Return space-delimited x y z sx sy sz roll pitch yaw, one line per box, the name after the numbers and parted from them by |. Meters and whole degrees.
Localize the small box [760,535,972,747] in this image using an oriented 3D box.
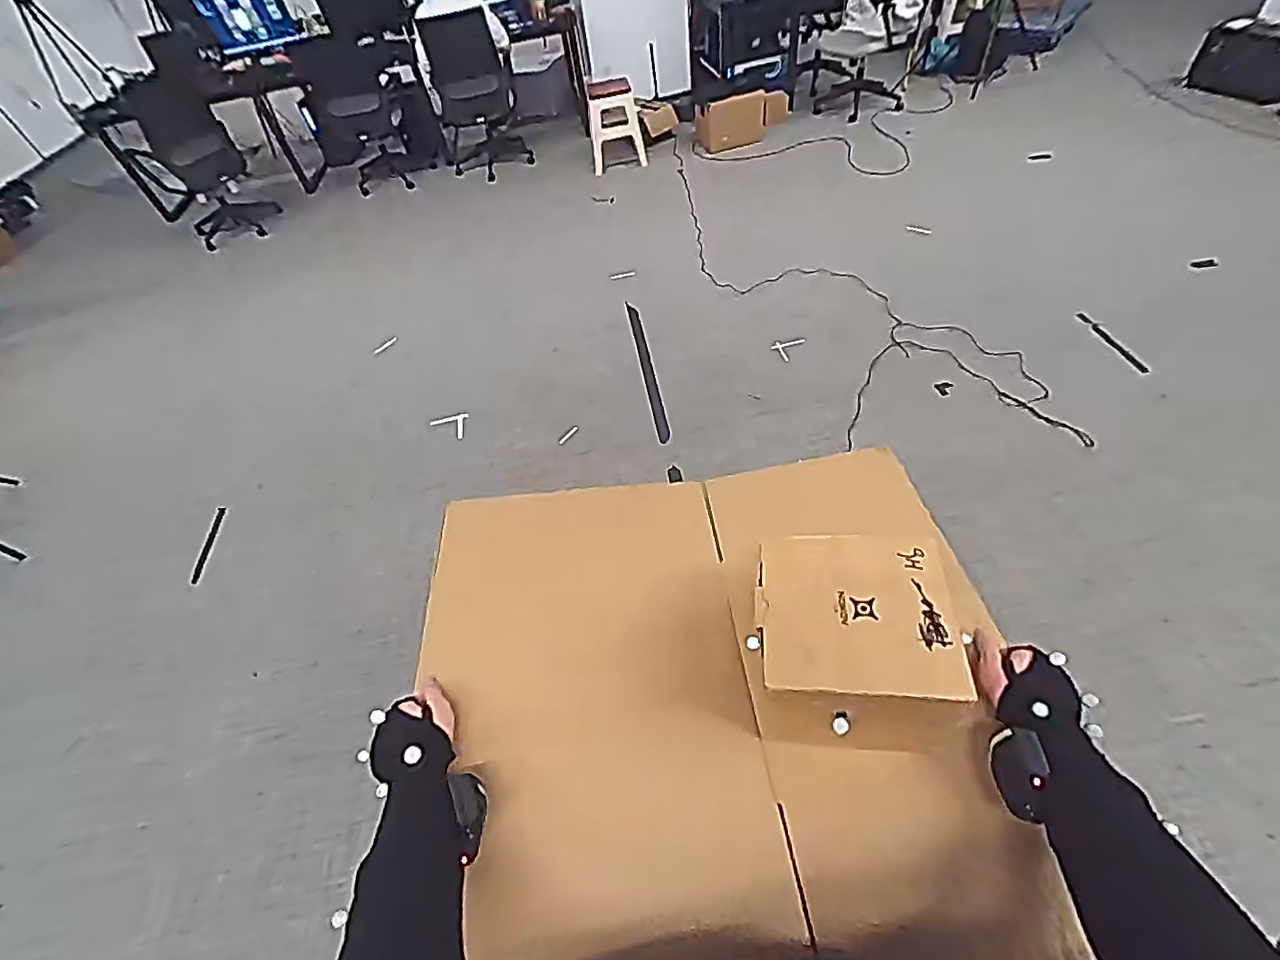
0.225 0.175 0.583 0.179 0.176 0.168 -2 50 14 | small box
